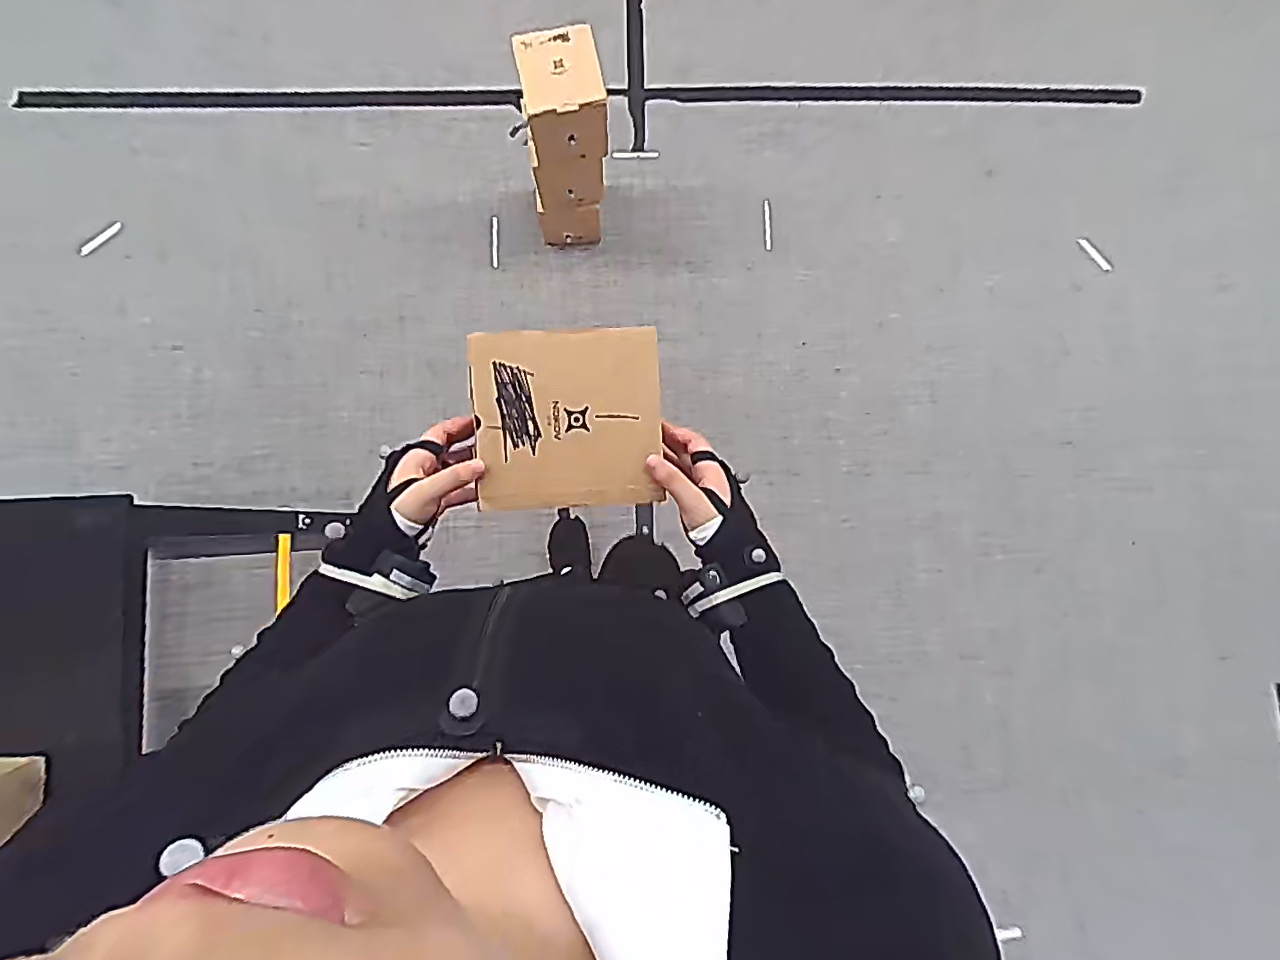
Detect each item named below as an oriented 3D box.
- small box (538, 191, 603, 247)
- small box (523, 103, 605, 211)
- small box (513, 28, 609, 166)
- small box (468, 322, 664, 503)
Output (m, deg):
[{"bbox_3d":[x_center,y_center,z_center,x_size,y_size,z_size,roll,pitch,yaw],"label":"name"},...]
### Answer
[{"bbox_3d":[-0.191,-0.774,1.497,0.168,0.176,0.179,-5,86,-2],"label":"small box"},{"bbox_3d":[-0.182,-0.802,1.334,0.168,0.176,0.179,-10,85,-2],"label":"small box"},{"bbox_3d":[-0.164,-0.814,1.170,0.168,0.176,0.179,-12,86,-3],"label":"small box"},{"bbox_3d":[-0.071,-0.064,0.575,0.179,0.176,0.168,-3,93,-4],"label":"small box"}]
